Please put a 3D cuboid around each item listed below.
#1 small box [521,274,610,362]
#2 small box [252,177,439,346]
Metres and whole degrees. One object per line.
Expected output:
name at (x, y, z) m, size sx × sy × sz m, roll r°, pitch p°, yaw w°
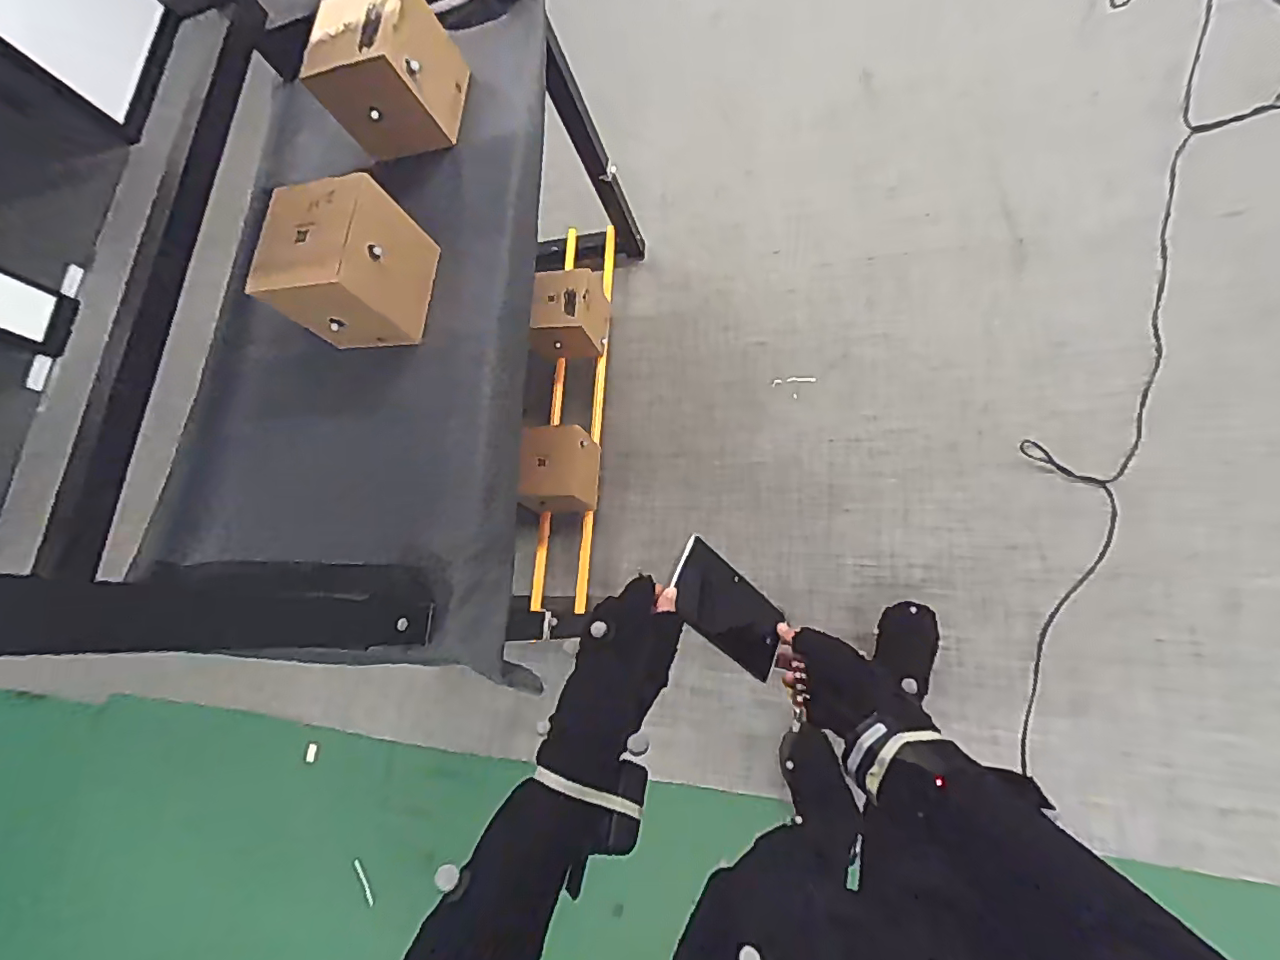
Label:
small box at (-0.192, -0.429, 1.454) m, size 0.179 × 0.176 × 0.168 m, roll 2°, pitch 75°, yaw 18°
small box at (-0.432, -0.315, 0.820) m, size 0.168 × 0.176 × 0.179 m, roll 2°, pitch 75°, yaw 17°
